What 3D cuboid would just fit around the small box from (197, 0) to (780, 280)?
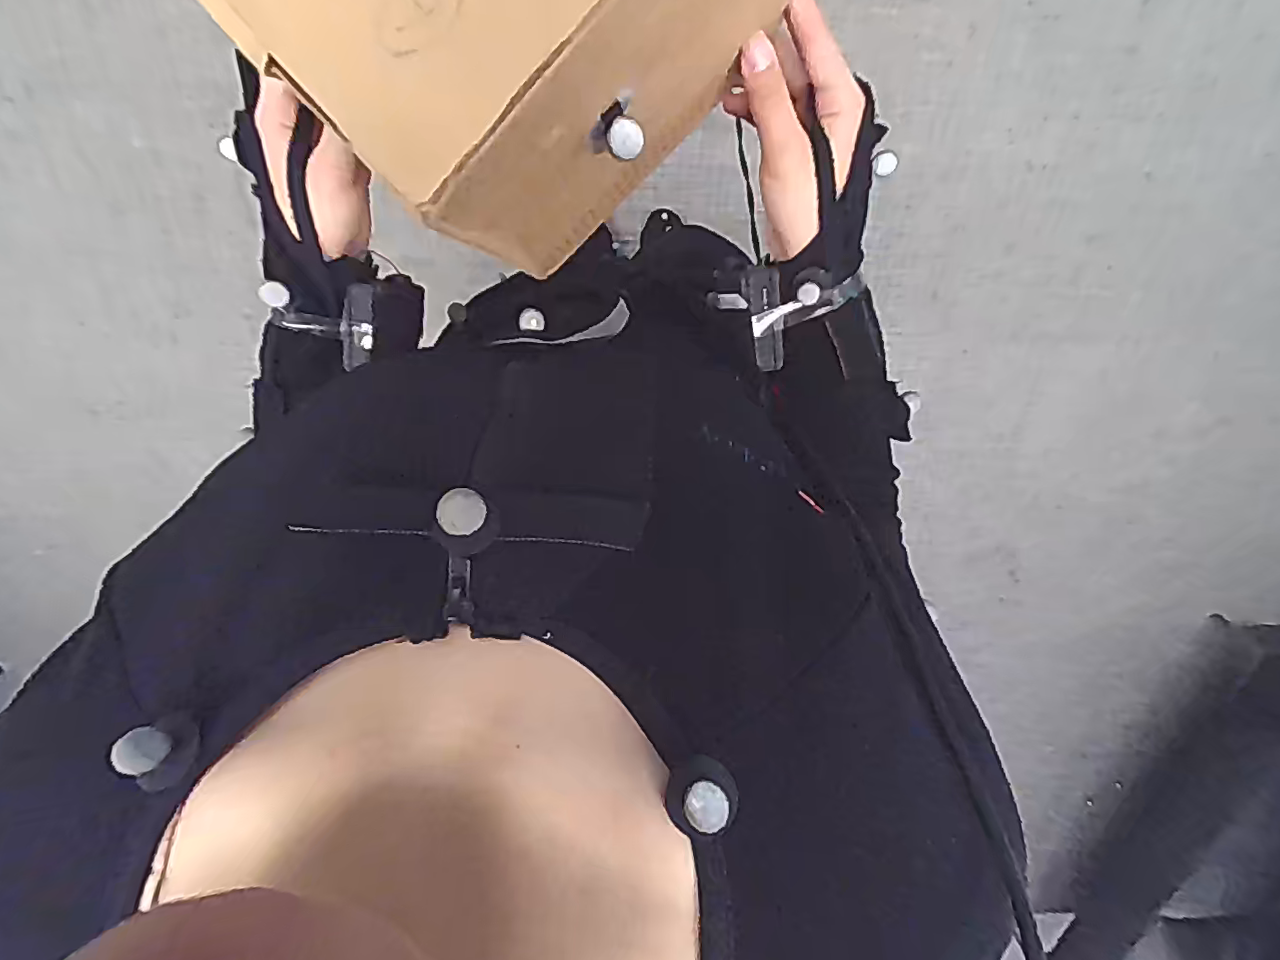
[{"bbox_3d":[-0.052,-0.205,0.217,0.179,0.176,0.168,-41,98,12],"label":"small box"}]
